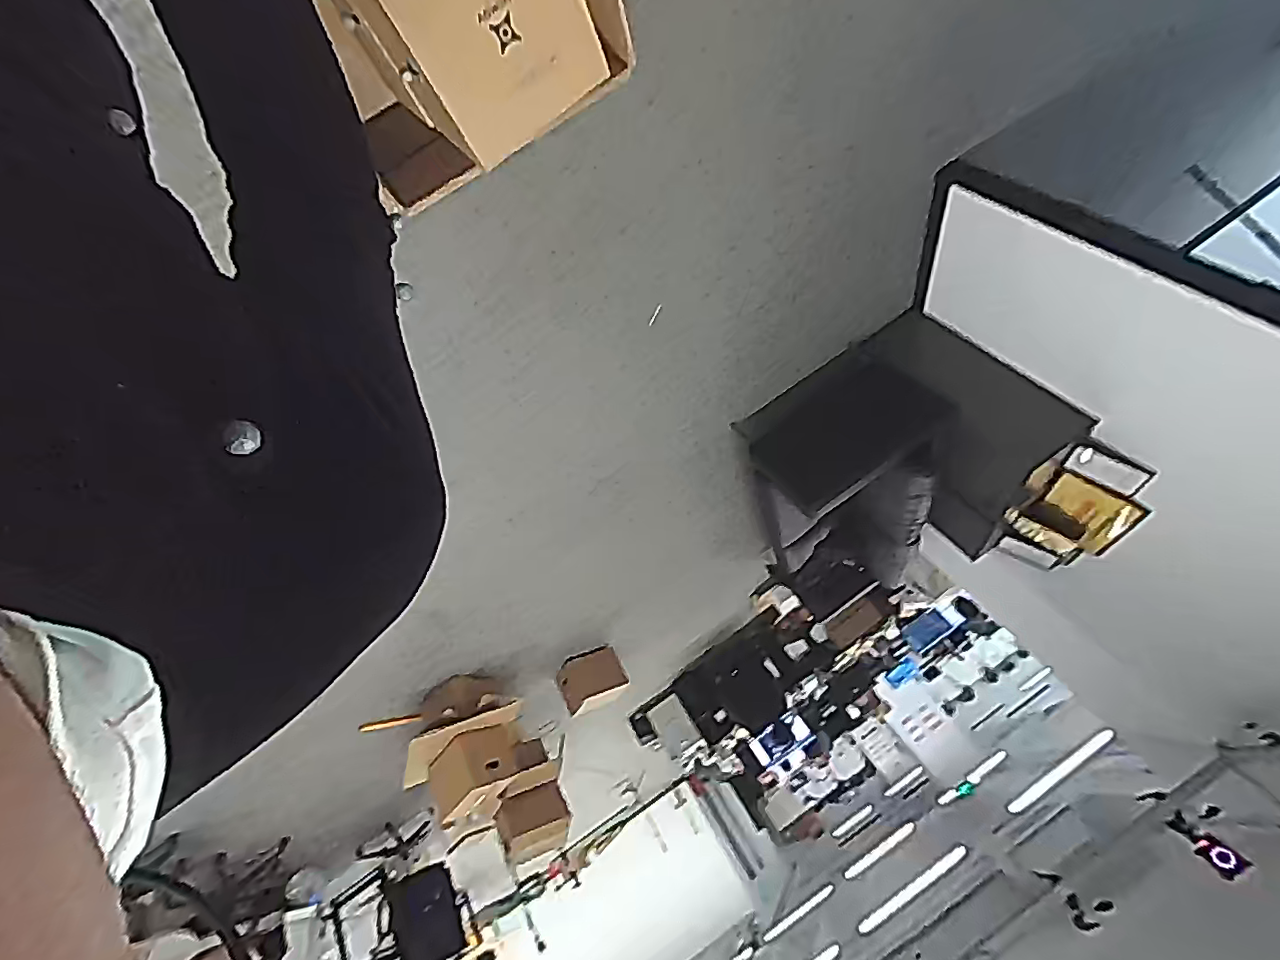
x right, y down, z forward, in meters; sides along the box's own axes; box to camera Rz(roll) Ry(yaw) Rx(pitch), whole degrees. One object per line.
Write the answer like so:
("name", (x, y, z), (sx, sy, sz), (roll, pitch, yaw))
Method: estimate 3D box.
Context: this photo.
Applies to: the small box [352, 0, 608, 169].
("small box", (-0.165, -0.453, 0.525), (0.168, 0.176, 0.179), (-38, 147, -1))
